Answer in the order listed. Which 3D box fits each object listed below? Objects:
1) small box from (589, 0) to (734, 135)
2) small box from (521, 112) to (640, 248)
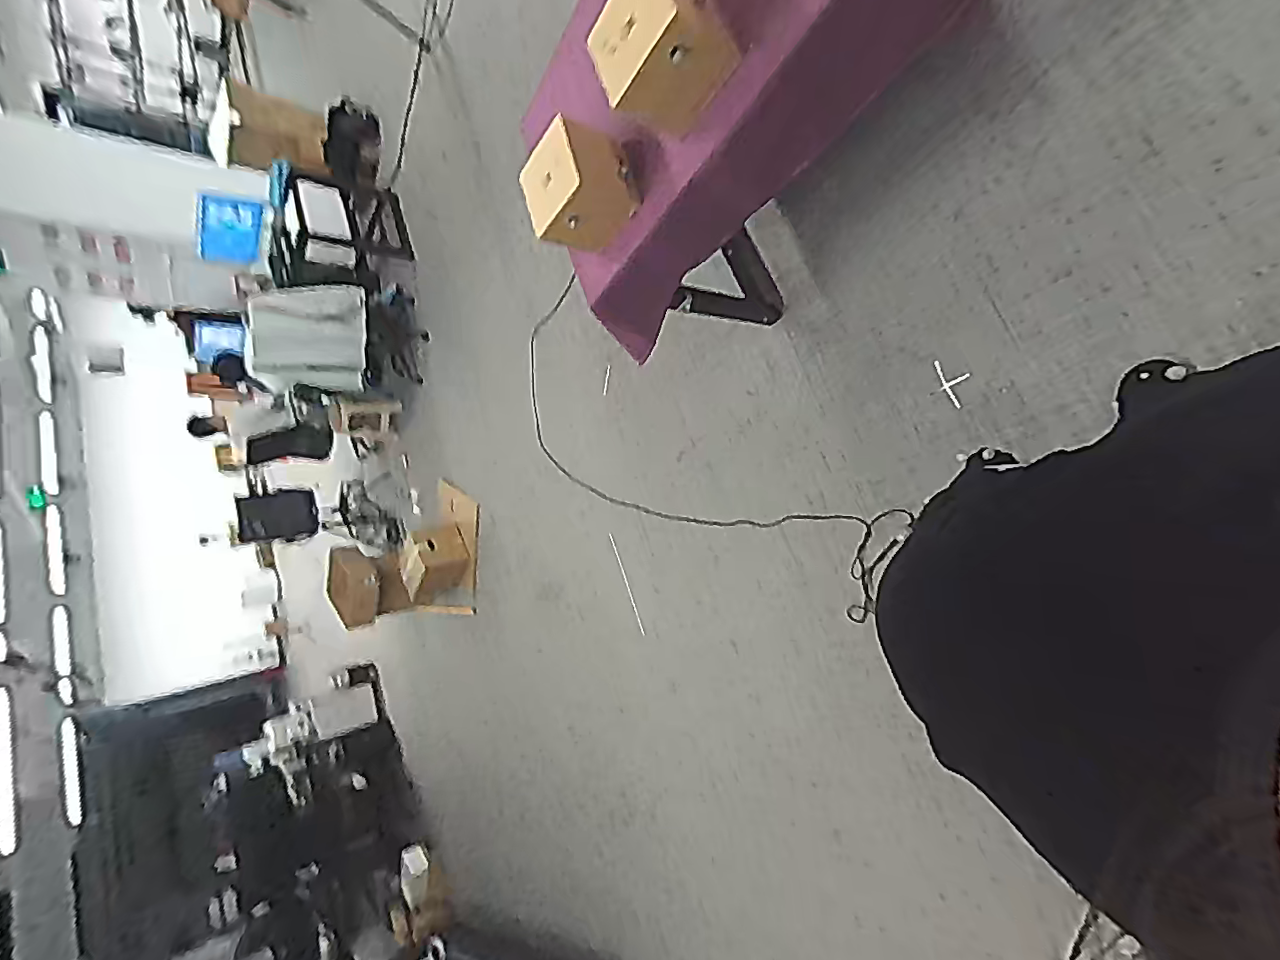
[{"bbox_3d":[0.042,-0.762,0.952,0.179,0.176,0.168,-32,70,45],"label":"small box"},{"bbox_3d":[-0.128,-0.629,1.161,0.179,0.176,0.168,-26,76,46],"label":"small box"}]
